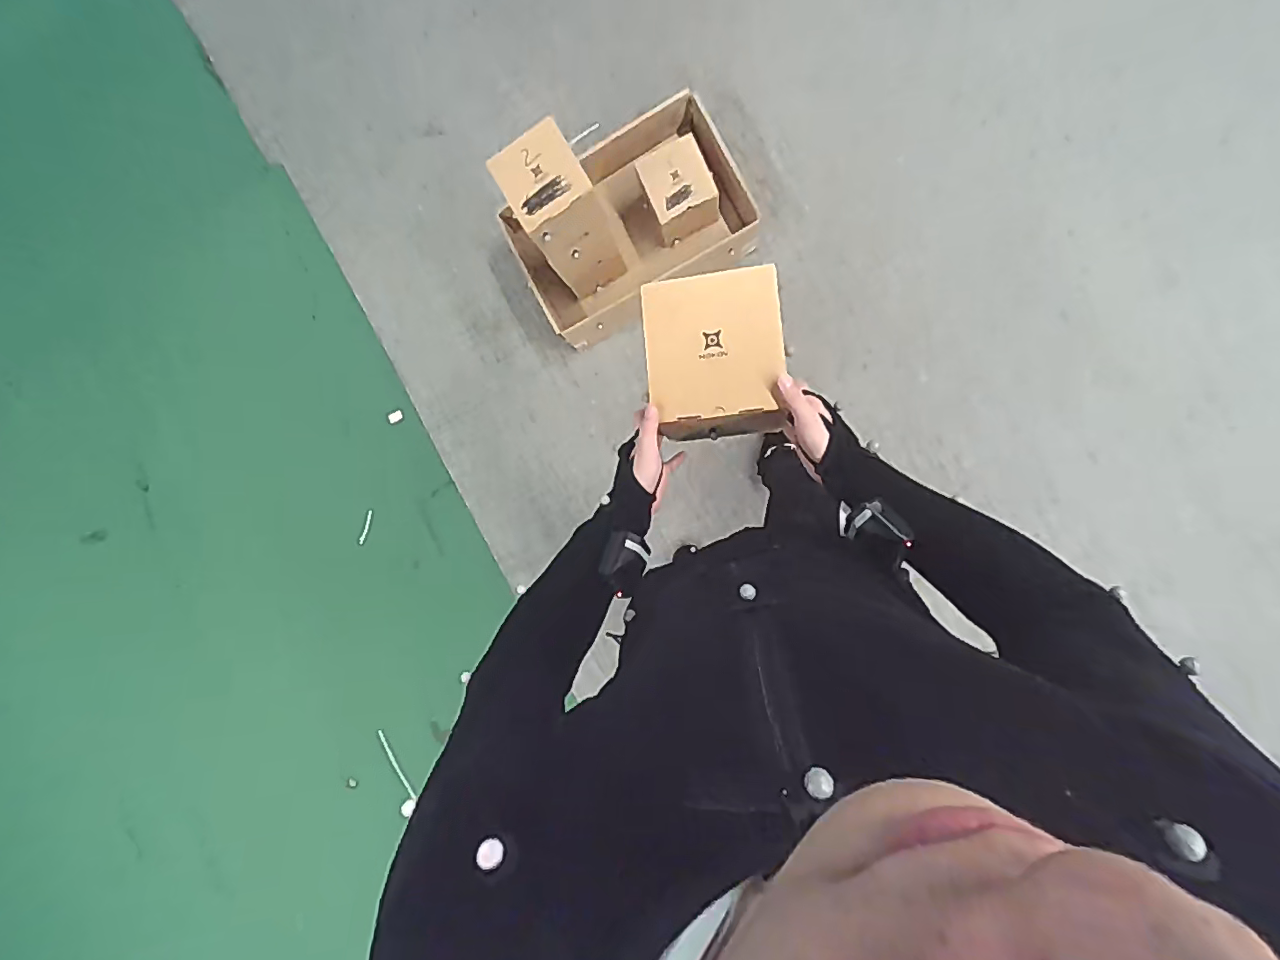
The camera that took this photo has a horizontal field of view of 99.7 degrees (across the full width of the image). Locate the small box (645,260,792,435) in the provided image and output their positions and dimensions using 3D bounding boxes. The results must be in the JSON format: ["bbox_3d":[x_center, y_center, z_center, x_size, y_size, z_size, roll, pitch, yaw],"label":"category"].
[{"bbox_3d":[0.104,-0.164,0.724,0.168,0.176,0.179,-6,87,9],"label":"small box"}]

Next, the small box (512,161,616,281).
[{"bbox_3d":[-0.179,-0.625,1.330,0.168,0.176,0.179,-31,88,8],"label":"small box"}]
